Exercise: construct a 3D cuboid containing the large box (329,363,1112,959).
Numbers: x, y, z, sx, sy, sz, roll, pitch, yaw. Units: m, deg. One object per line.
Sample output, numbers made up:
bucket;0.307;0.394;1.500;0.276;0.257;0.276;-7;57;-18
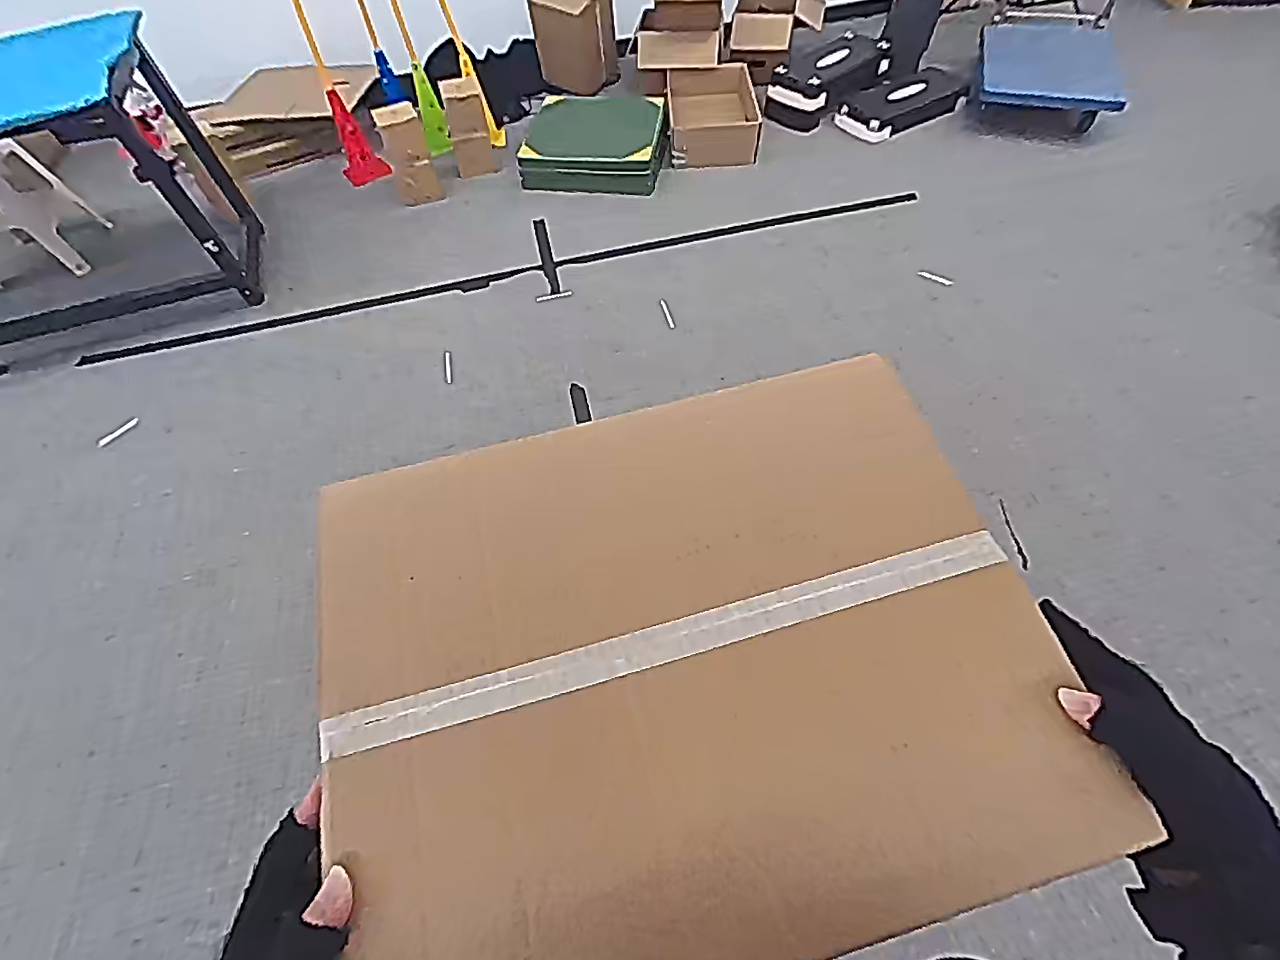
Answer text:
large box;0.025;0.157;0.459;0.408;0.320;0.320;-15;65;-5
